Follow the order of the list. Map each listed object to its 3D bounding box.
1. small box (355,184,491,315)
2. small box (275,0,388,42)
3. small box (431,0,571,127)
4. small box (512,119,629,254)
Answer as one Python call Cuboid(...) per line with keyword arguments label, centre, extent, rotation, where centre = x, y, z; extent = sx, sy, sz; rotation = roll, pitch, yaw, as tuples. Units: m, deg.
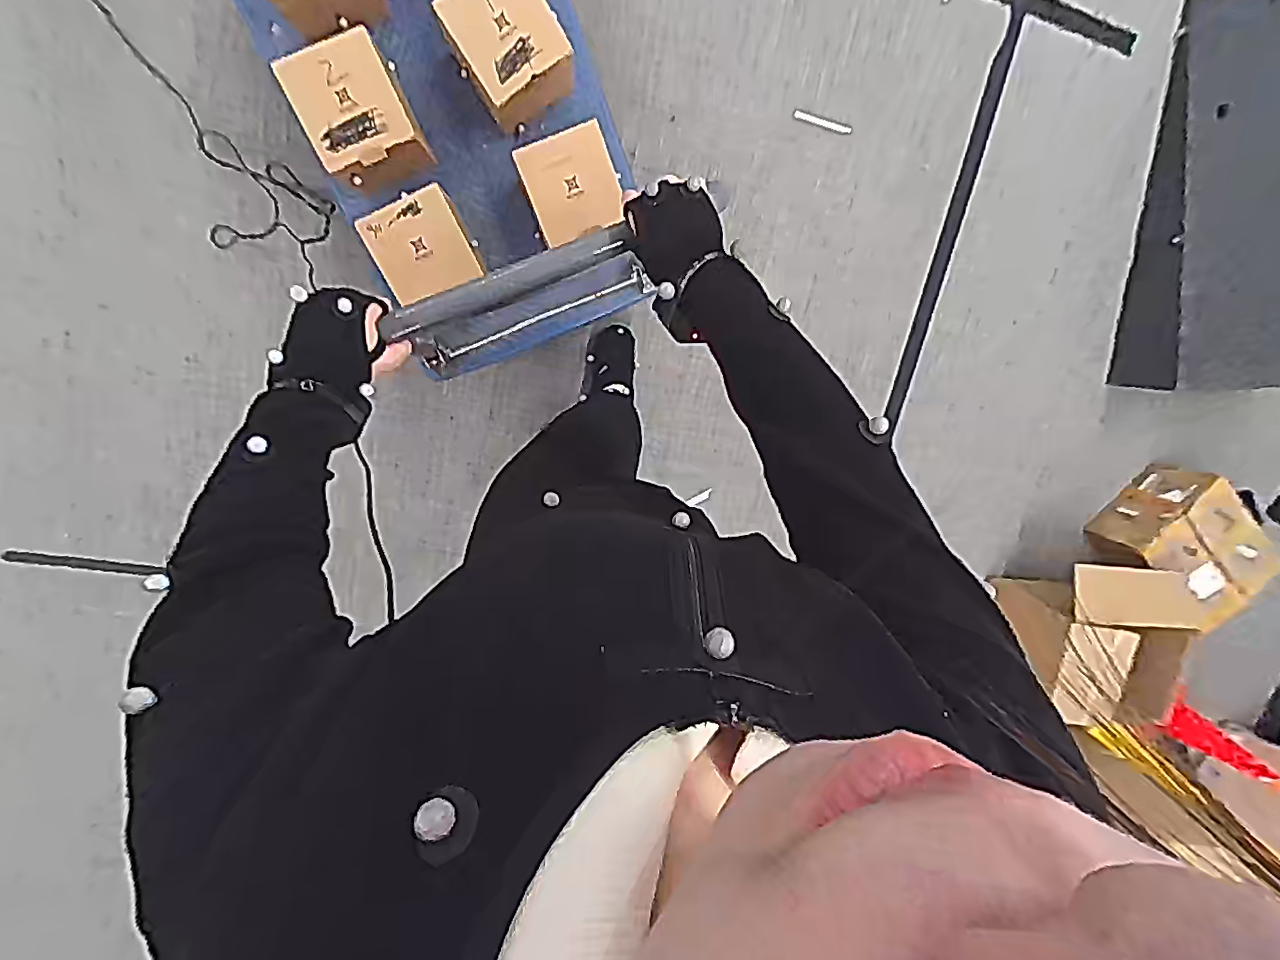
Cuboid(label="small box", centre=(-0.406, -0.437, 1.050), extent=(0.168, 0.176, 0.179), rotation=(-26, 108, -1))
Cuboid(label="small box", centre=(-0.554, -0.889, 0.899), extent=(0.168, 0.176, 0.179), rotation=(-21, 108, -2))
Cuboid(label="small box", centre=(-0.239, -0.779, 0.978), extent=(0.168, 0.176, 0.179), rotation=(-34, 107, 2))
Cuboid(label="small box", centre=(-0.133, -0.558, 1.058), extent=(0.168, 0.176, 0.179), rotation=(-23, 107, -2))
